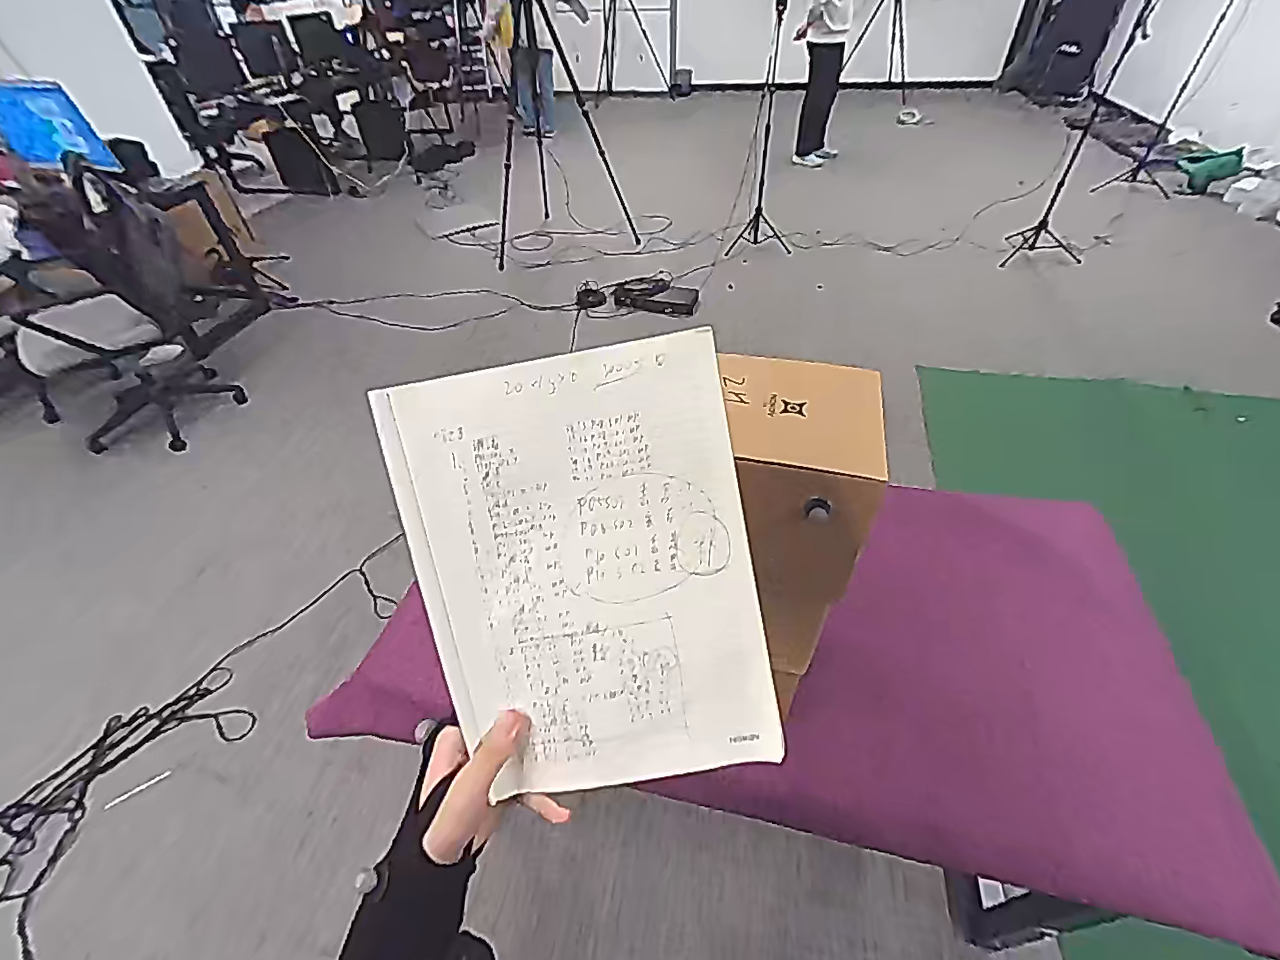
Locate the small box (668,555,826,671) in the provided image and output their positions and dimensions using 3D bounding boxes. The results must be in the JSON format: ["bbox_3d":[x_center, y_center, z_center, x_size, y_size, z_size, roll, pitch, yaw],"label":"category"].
[{"bbox_3d":[0.133,0.110,0.671,0.168,0.176,0.179,8,44,11],"label":"small box"}]

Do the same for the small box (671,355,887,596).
[{"bbox_3d":[0.135,-0.005,0.552,0.179,0.176,0.168,10,44,13],"label":"small box"}]
